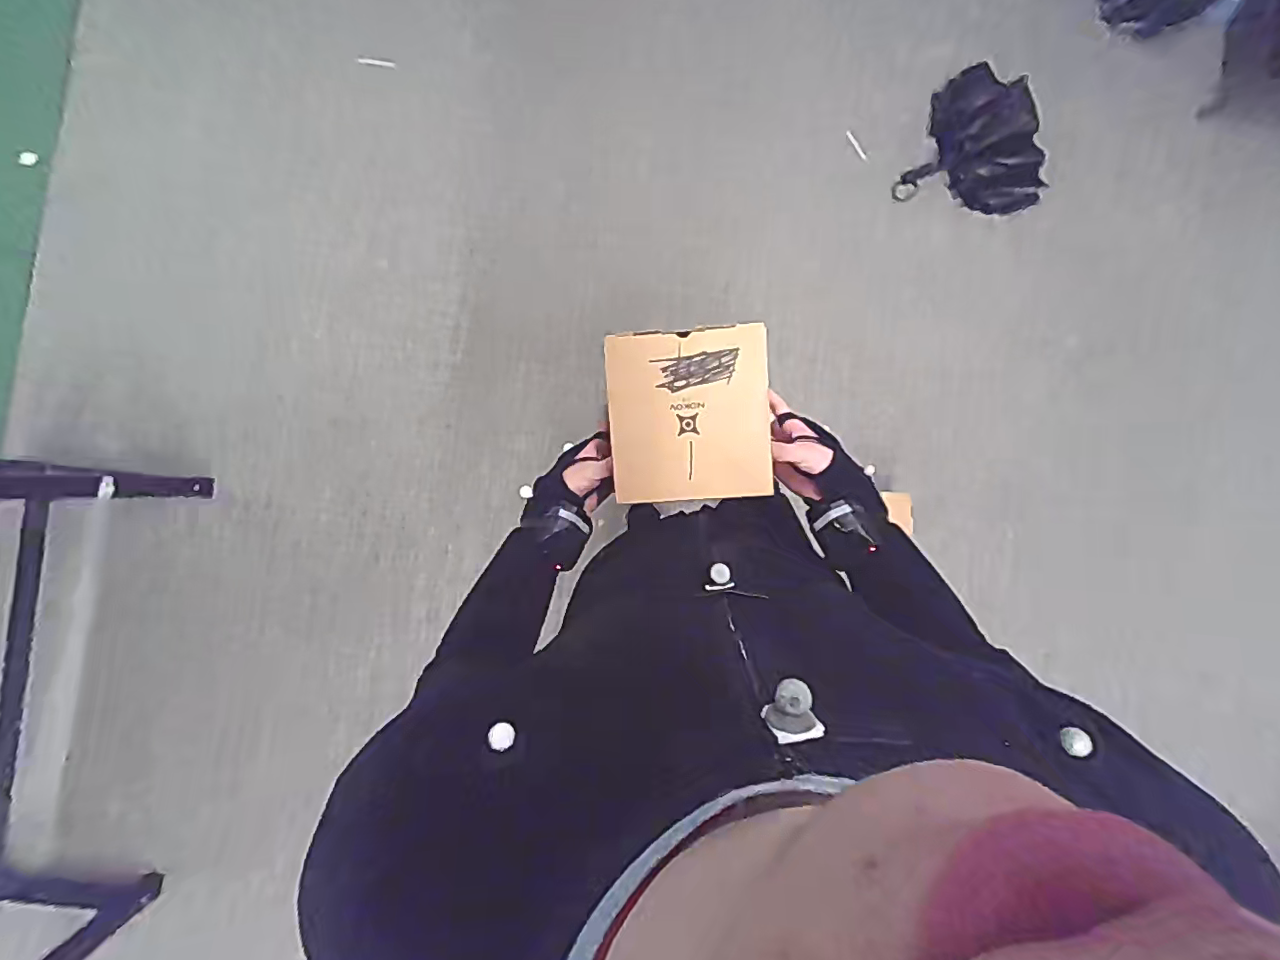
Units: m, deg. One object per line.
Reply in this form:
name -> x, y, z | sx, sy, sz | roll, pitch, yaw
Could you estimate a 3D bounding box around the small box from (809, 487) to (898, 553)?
small box -> 0.585, 0.107, 1.494 | 0.179, 0.176, 0.168 | 4, 88, 0
